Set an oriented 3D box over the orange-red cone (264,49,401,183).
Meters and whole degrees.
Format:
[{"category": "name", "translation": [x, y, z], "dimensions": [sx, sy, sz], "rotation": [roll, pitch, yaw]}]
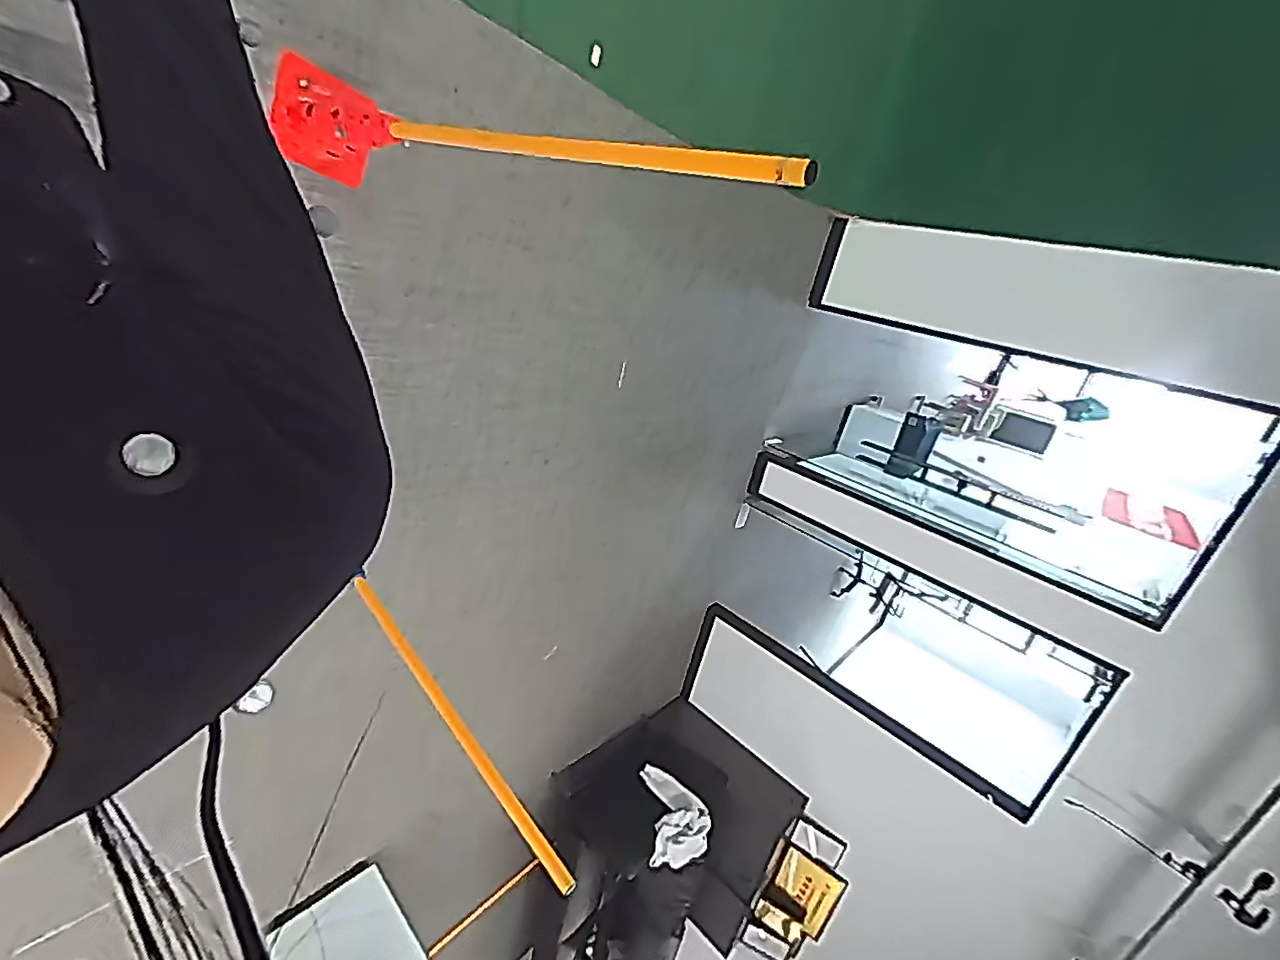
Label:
[{"category": "orange-red cone", "translation": [-0.581, -0.725, 1.096], "dimensions": [0.198, 0.360, 0.199], "rotation": [7, 109, -52]}]
